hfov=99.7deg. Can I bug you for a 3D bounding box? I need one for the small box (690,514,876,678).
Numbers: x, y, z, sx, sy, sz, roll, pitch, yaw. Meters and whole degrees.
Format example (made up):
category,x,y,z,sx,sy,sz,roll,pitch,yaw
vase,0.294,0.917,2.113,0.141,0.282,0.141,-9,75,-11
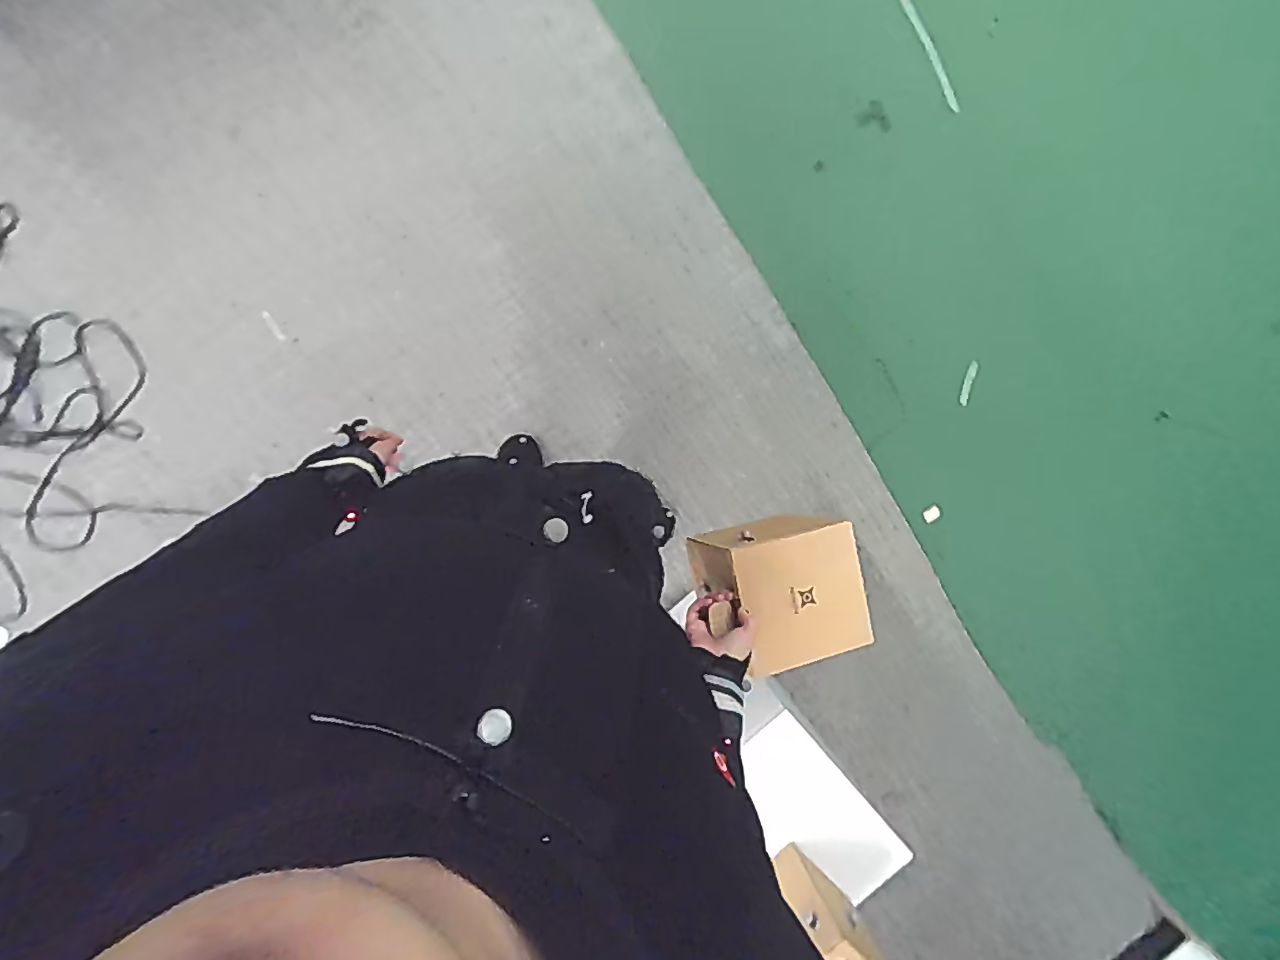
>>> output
category,x,y,z,sx,sy,sz,roll,pitch,yaw
small box,0.191,0.147,0.757,0.179,0.176,0.168,-14,92,-13
